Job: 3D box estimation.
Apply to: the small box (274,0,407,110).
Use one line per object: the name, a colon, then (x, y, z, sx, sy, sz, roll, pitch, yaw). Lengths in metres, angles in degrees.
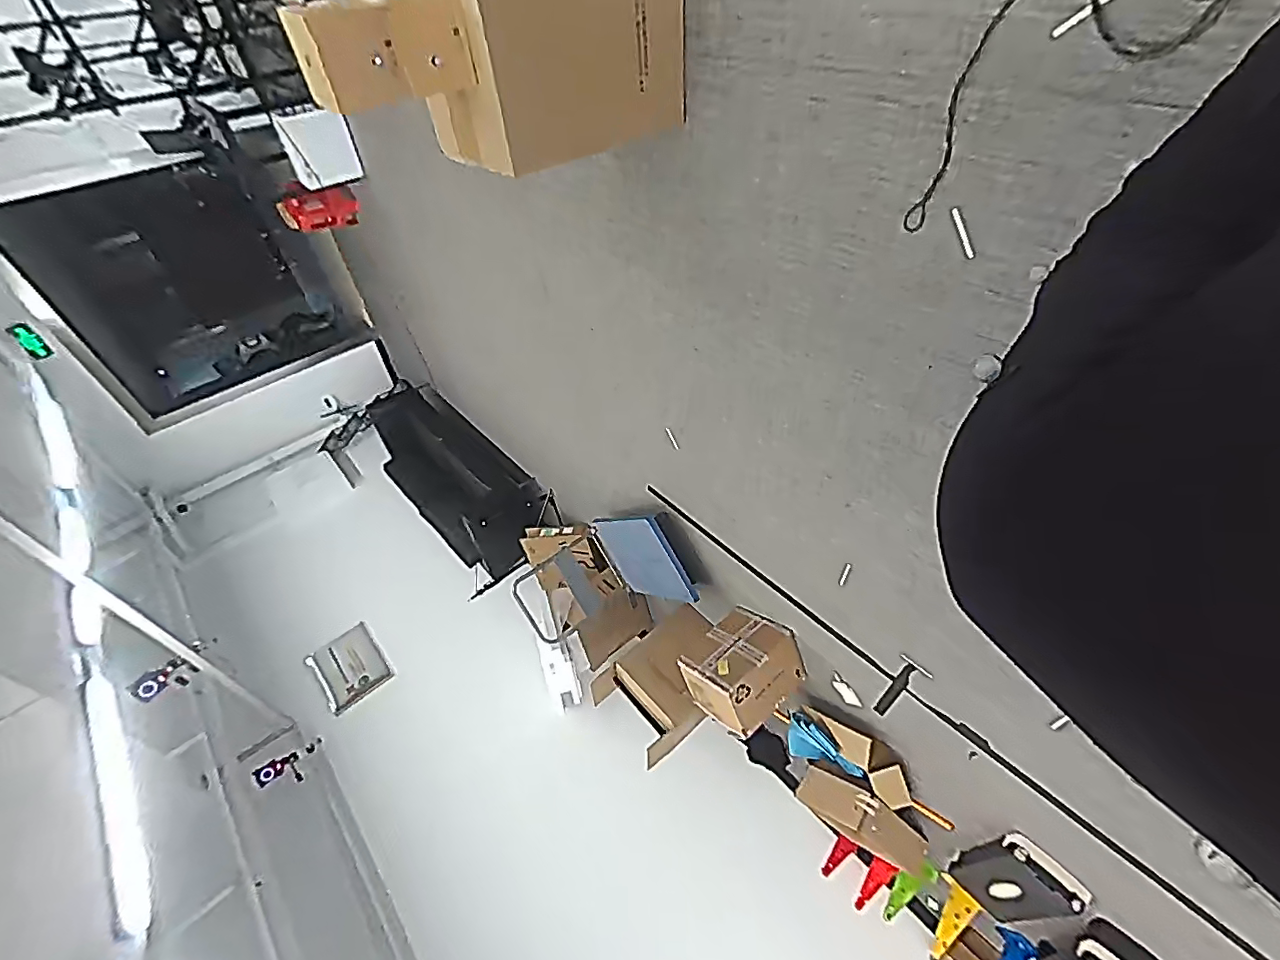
small box: (-0.635, -0.924, 1.160, 0.179, 0.176, 0.168, 40, 152, 31)

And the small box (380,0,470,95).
small box: (-0.506, -1.003, 1.227, 0.179, 0.176, 0.168, 39, 151, 33)
